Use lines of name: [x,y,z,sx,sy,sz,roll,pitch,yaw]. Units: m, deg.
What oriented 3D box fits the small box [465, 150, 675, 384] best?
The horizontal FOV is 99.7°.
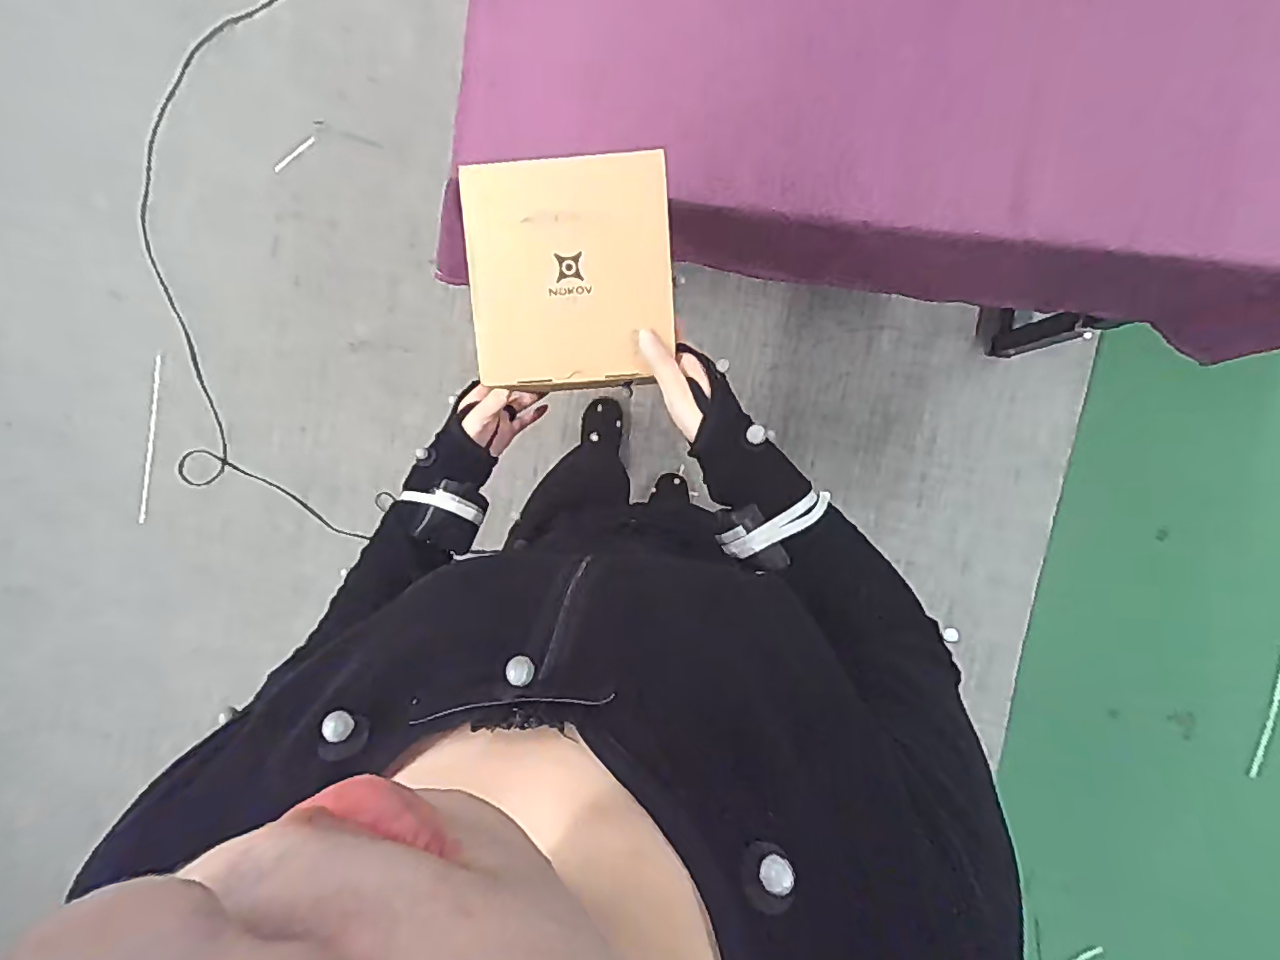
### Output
small box: [-0.053,-0.183,0.520,0.168,0.176,0.179,-3,98,1]
